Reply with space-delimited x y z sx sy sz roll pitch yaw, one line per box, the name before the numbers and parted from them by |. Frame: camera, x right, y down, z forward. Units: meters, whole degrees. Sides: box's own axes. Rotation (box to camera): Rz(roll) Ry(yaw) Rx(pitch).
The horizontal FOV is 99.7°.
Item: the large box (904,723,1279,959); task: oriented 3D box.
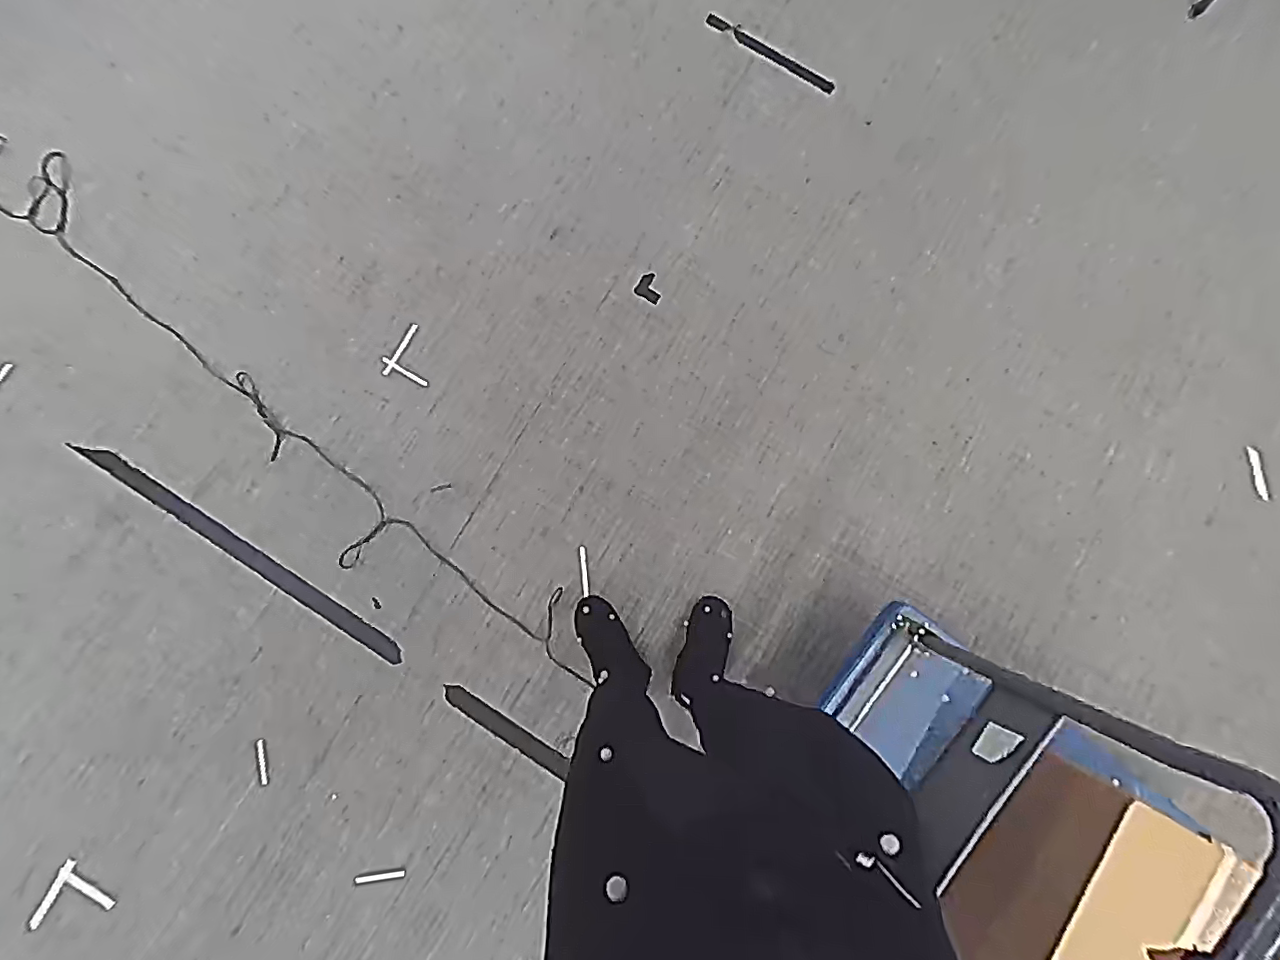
large box | 0.748 0.721 0.934 0.320 0.320 0.408 31 87 3
